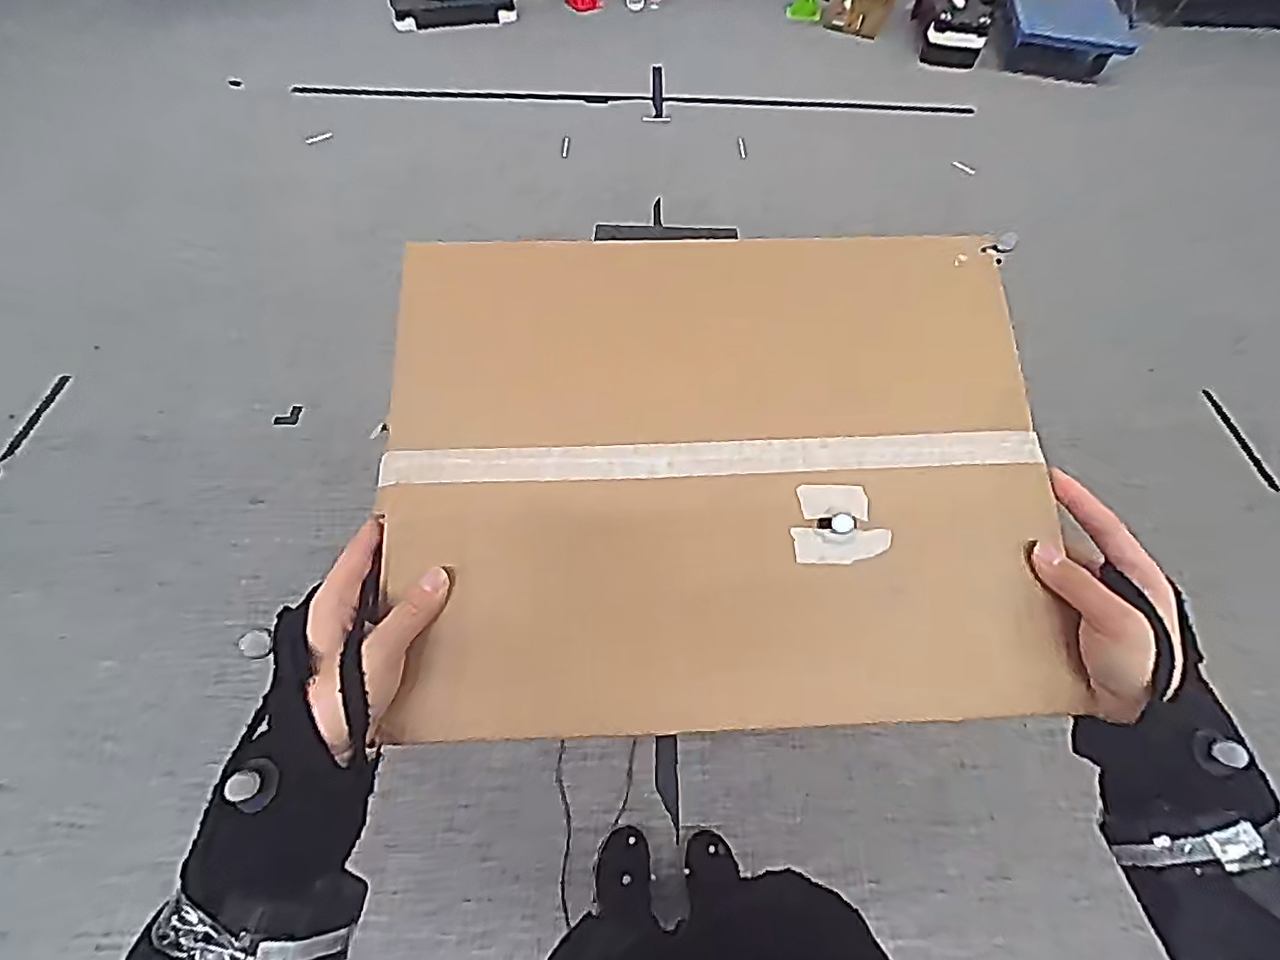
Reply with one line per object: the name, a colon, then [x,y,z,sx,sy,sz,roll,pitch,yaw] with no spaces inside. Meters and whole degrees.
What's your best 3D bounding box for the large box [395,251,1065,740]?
large box: [0.043,0.026,0.493,0.408,0.320,0.320,-2,77,-2]
